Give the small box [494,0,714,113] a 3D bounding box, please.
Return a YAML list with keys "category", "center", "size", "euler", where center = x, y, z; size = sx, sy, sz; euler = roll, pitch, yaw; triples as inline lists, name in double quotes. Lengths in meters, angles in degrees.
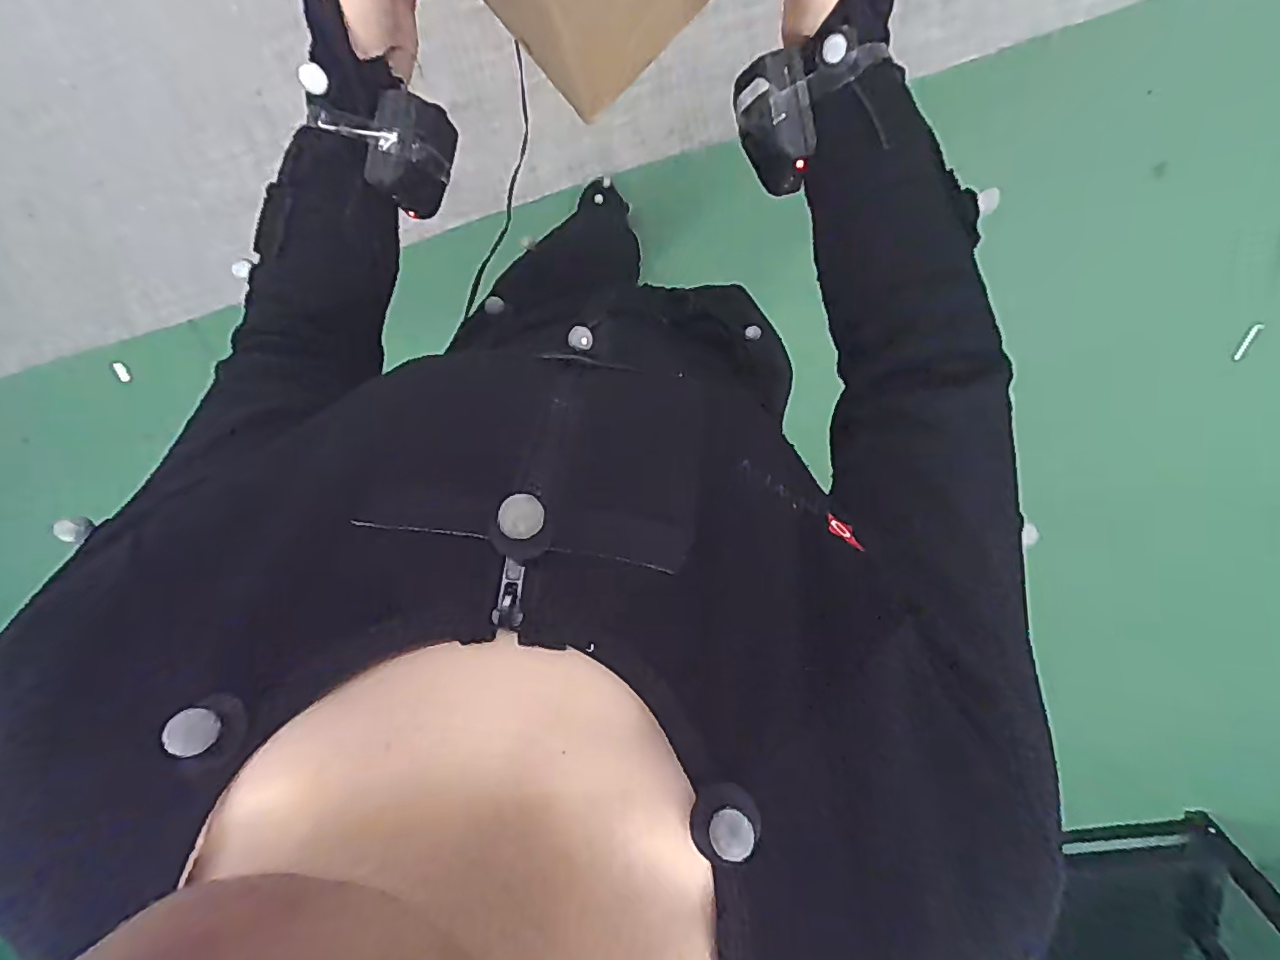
- category: "small box"
  center: [-0.029, -0.353, 0.292]
  size: [0.179, 0.176, 0.168]
  euler: [-41, 97, 11]
